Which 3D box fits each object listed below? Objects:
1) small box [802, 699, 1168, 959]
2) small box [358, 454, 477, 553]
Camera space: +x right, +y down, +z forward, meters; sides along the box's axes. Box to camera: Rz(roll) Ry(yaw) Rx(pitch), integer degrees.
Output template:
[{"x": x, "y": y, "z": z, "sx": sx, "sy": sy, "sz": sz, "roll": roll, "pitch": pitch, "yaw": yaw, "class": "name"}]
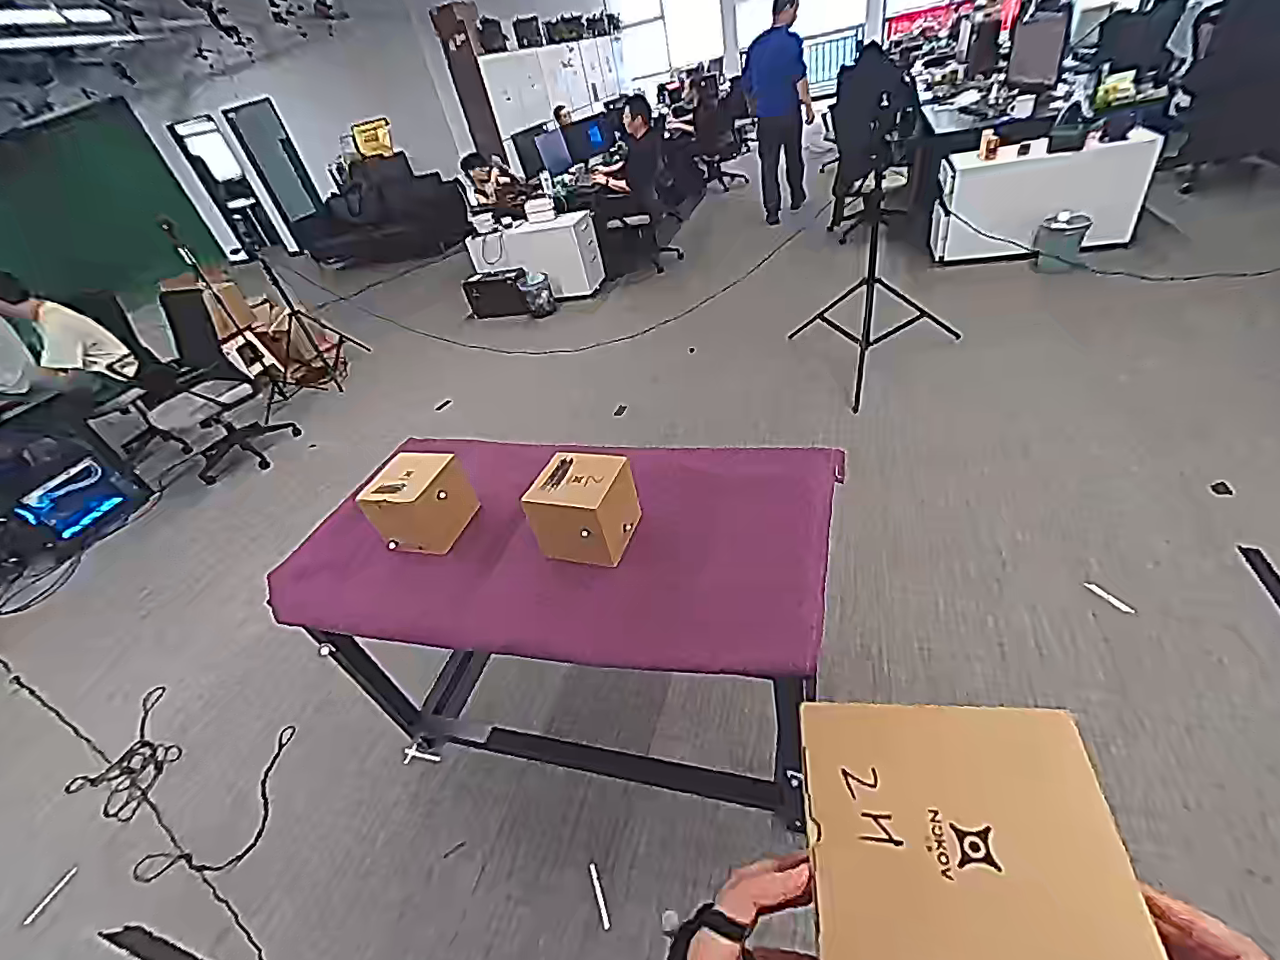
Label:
[{"x": 0.211, "y": 0.272, "z": 0.383, "sx": 0.179, "sy": 0.176, "sz": 0.168, "roll": -4, "pitch": 46, "yaw": 15, "class": "small box"}, {"x": -0.519, "y": 0.056, "z": 1.293, "sx": 0.168, "sy": 0.176, "sz": 0.179, "roll": 2, "pitch": 40, "yaw": 19, "class": "small box"}]
